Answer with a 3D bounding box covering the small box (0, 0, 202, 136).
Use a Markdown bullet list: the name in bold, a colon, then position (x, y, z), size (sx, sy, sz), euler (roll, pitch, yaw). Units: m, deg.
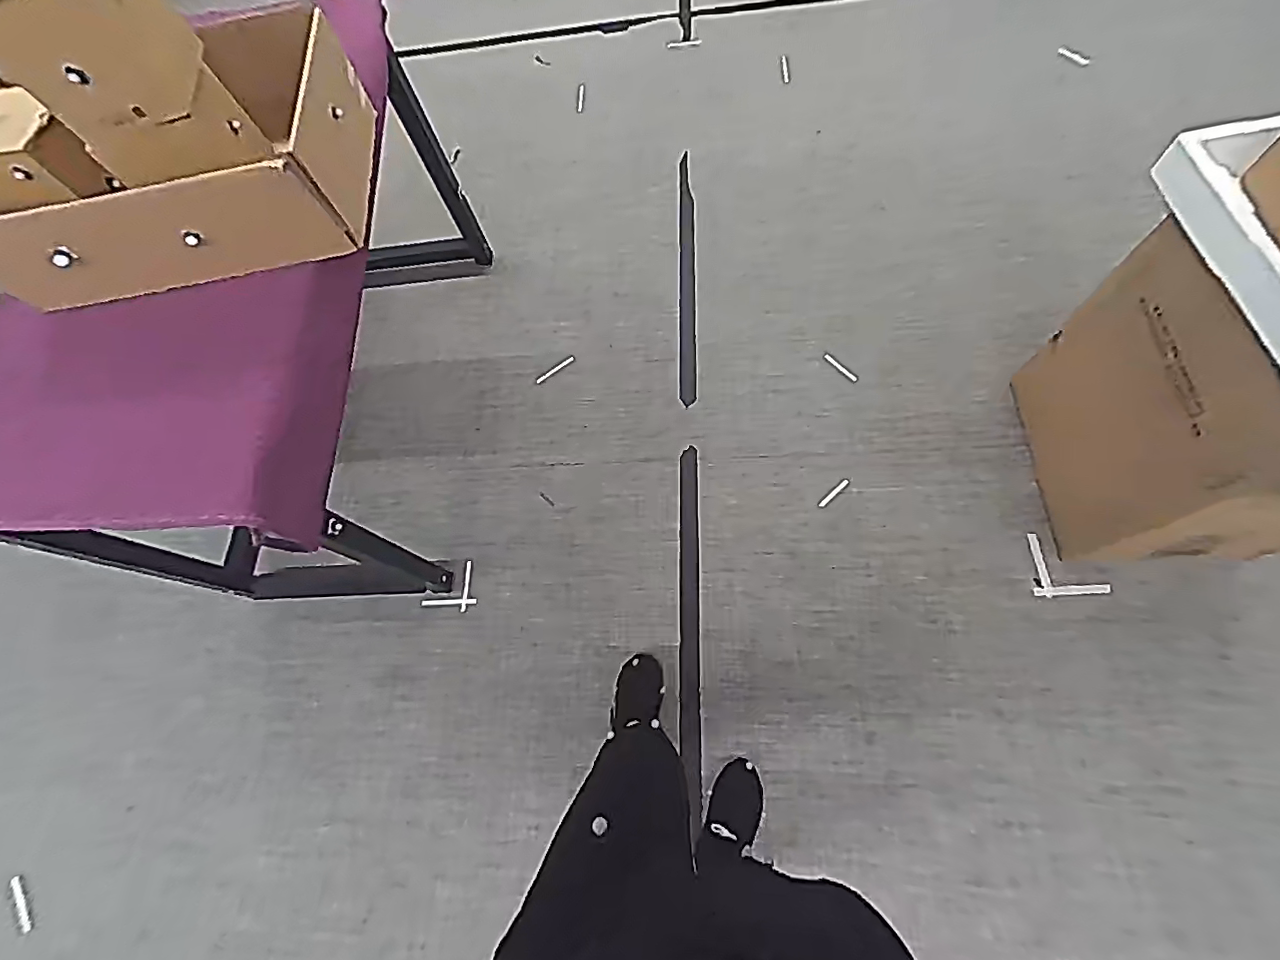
- **small box**: position (-0.758, -0.613, 0.748), size (0.168, 0.176, 0.179), euler (-14, 66, 3)
